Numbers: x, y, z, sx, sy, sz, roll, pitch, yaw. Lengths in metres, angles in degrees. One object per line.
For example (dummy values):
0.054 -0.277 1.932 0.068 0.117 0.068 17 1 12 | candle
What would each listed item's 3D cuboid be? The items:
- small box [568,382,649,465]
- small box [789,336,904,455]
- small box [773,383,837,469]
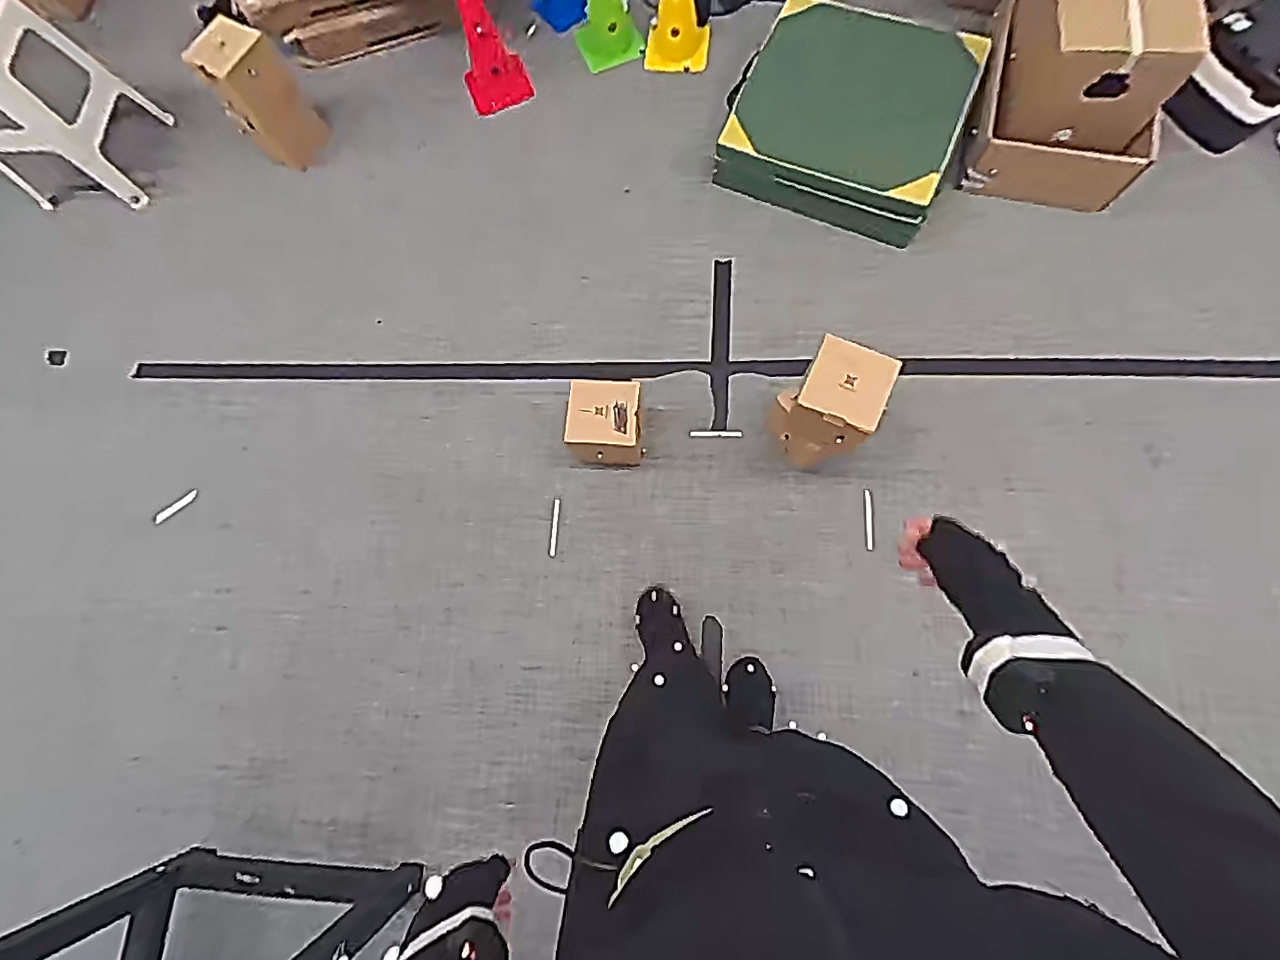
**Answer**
-0.074 -0.139 1.391 0.179 0.176 0.168 3 76 7 | small box
0.441 -0.176 1.186 0.168 0.176 0.179 25 79 9 | small box
0.450 -0.148 1.350 0.179 0.176 0.168 -30 75 -4 | small box
